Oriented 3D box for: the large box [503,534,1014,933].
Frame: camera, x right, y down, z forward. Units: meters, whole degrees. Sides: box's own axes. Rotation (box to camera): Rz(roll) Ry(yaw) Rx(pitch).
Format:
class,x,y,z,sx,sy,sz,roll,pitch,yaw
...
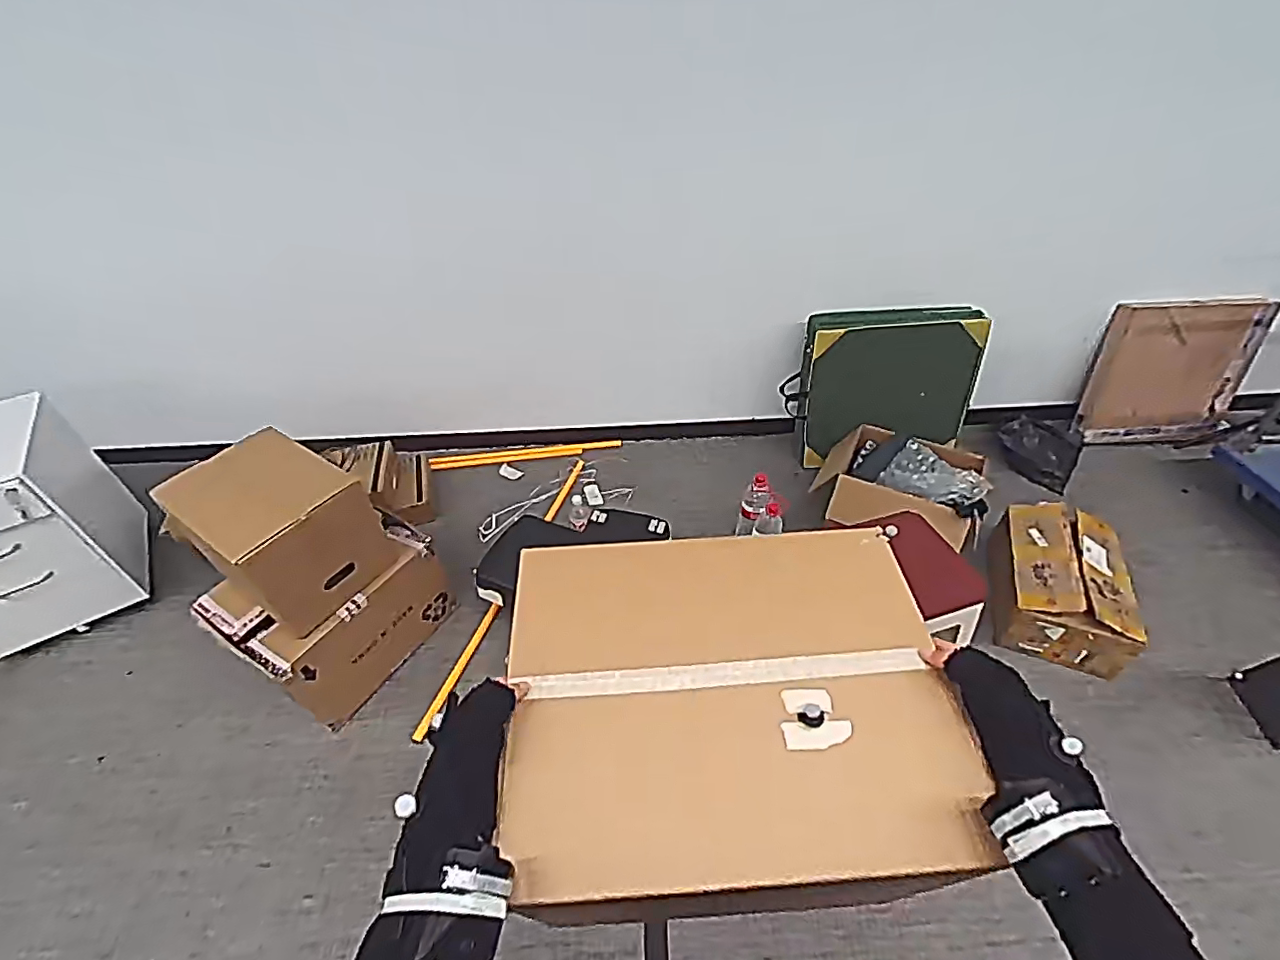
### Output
class,x,y,z,sx,sy,sz,roll,pitch,yaw
large box,0.083,0.287,0.616,0.408,0.320,0.320,-3,48,-2
